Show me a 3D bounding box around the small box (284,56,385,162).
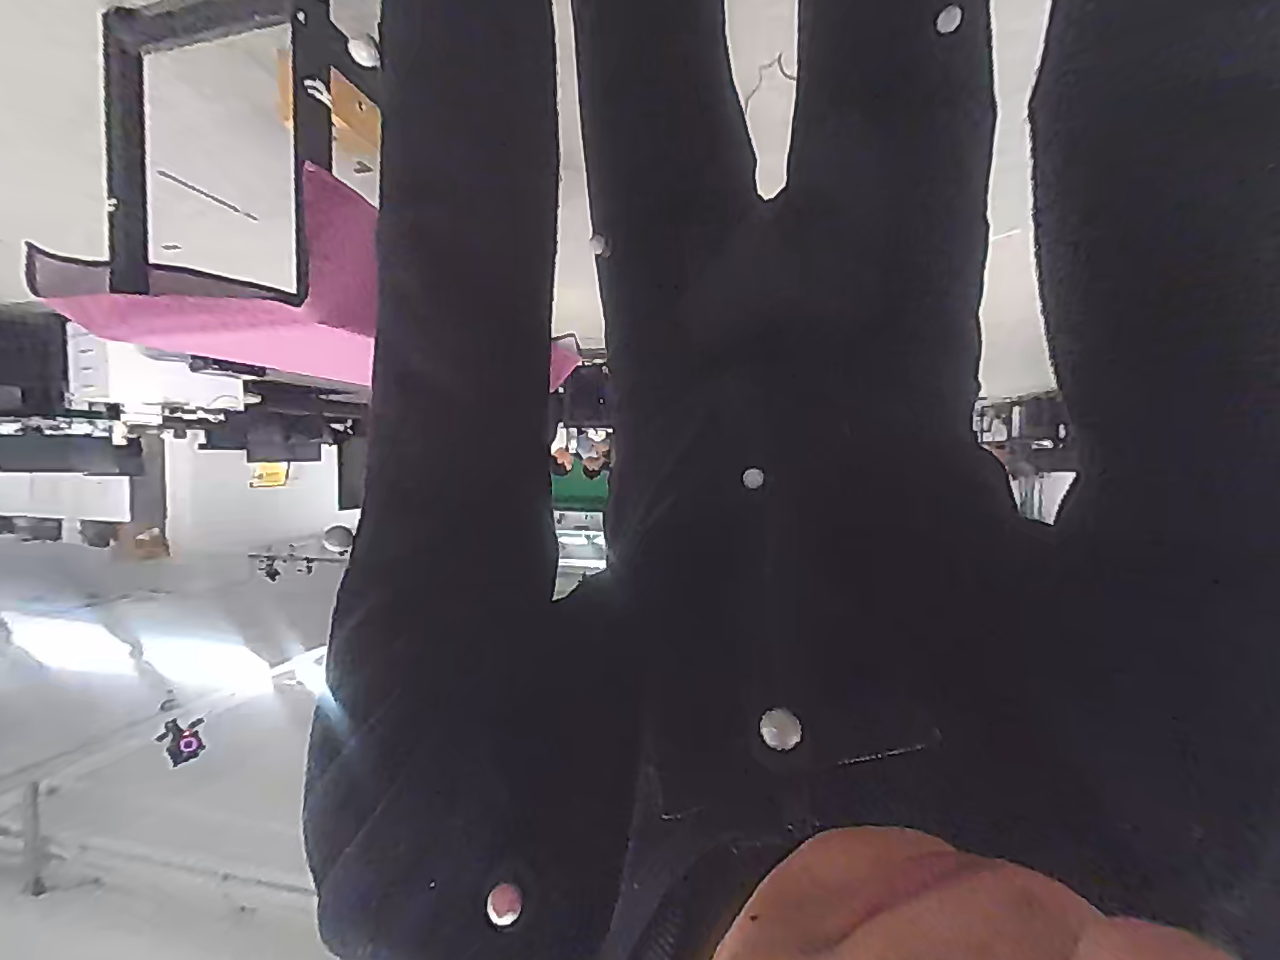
[{"bbox_3d":[-0.801,-0.977,1.422,0.168,0.176,0.179,1,-177,13],"label":"small box"}]
